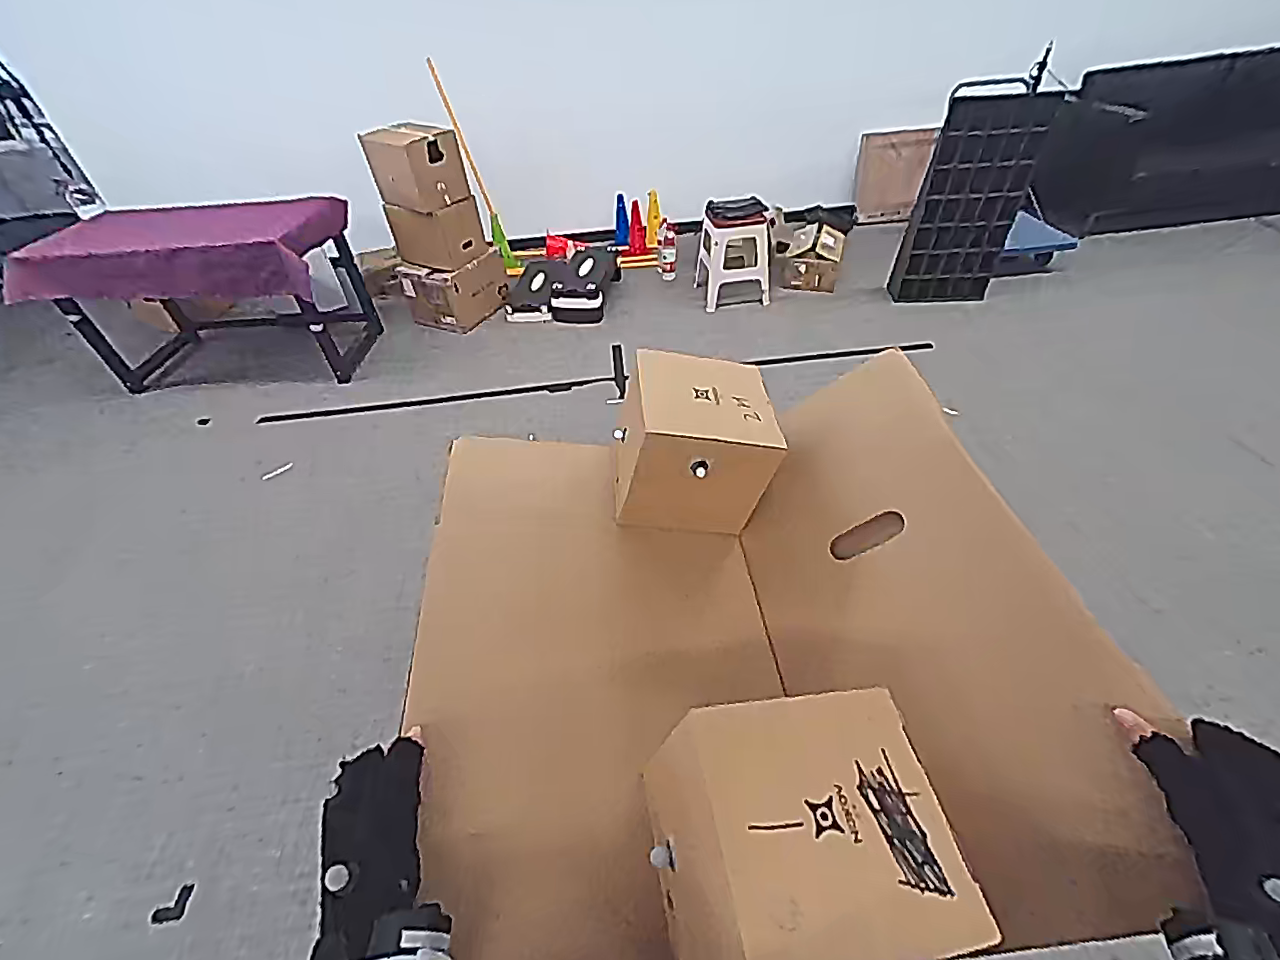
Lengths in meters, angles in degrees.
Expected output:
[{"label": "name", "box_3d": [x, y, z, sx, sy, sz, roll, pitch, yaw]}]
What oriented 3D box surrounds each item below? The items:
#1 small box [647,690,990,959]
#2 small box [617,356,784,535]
[{"label": "small box", "box_3d": [0.117, 0.287, 0.437, 0.179, 0.176, 0.168, 0, 48, -15]}, {"label": "small box", "box_3d": [0.066, -0.041, 0.733, 0.179, 0.176, 0.168, 7, 46, -12]}]
